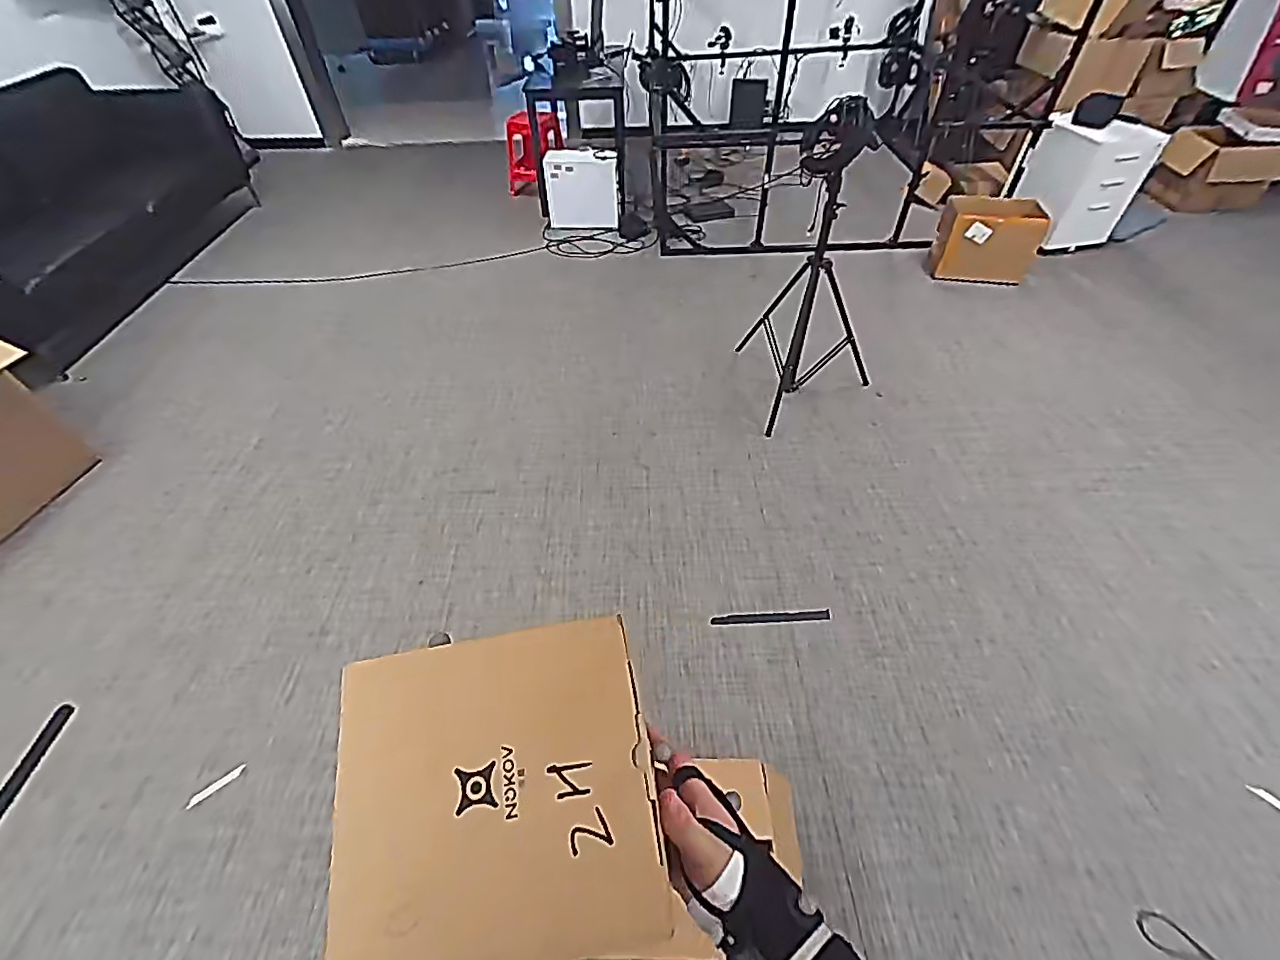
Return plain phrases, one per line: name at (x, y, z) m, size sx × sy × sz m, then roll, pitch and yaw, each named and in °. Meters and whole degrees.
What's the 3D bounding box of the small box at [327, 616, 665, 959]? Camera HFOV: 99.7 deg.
small box at (-0.082, 0.207, 0.377) m, size 0.179 × 0.176 × 0.168 m, roll -10°, pitch 64°, yaw -4°
